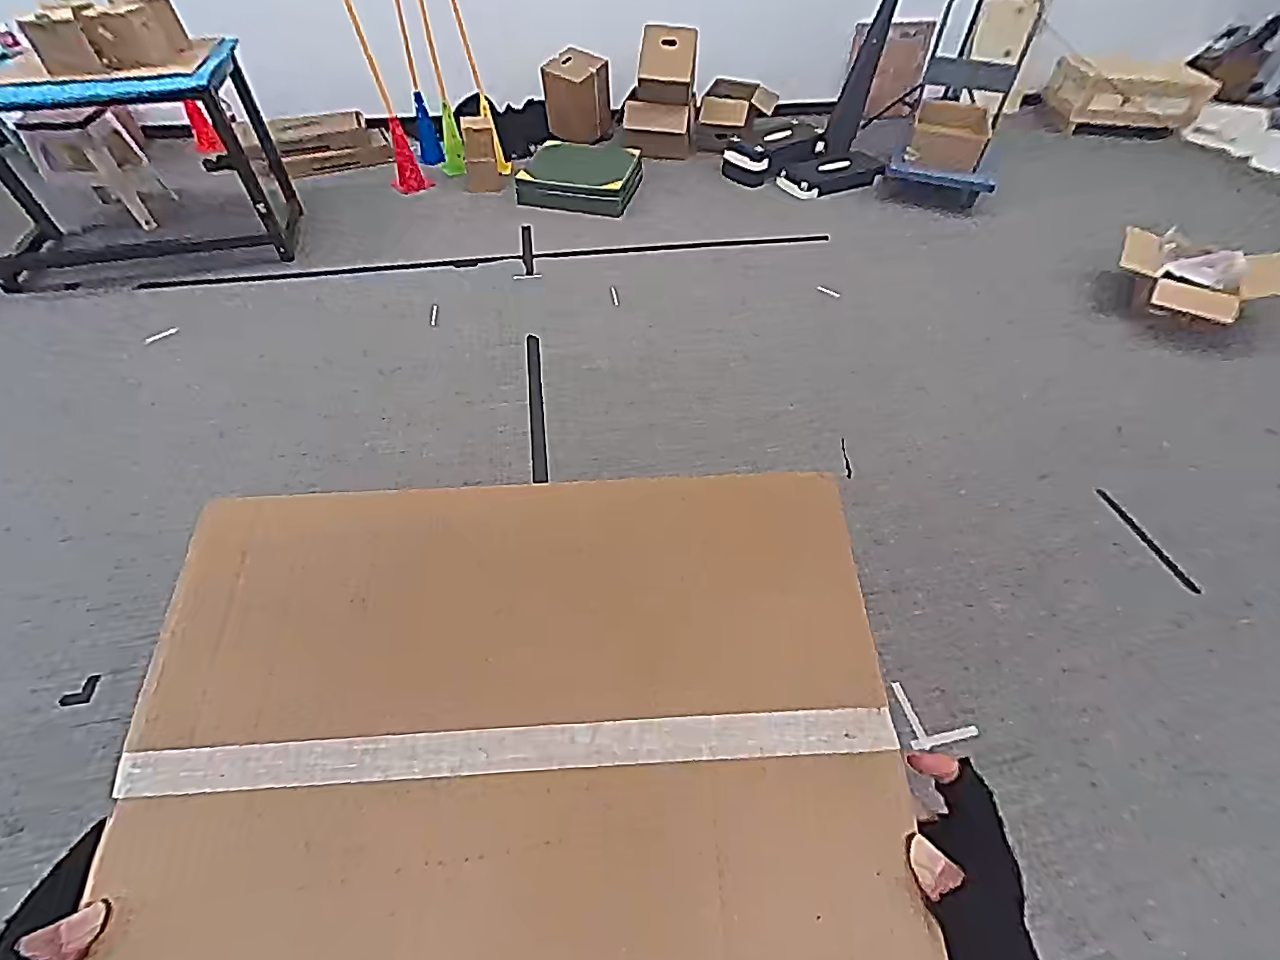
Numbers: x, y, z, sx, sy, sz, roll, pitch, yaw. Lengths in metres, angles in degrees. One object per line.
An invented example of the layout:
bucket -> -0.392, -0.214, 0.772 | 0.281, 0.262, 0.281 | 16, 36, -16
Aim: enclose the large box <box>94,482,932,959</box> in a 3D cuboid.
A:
large box -> -0.066, 0.214, 0.430 | 0.408, 0.320, 0.320 | -2, 65, -1
